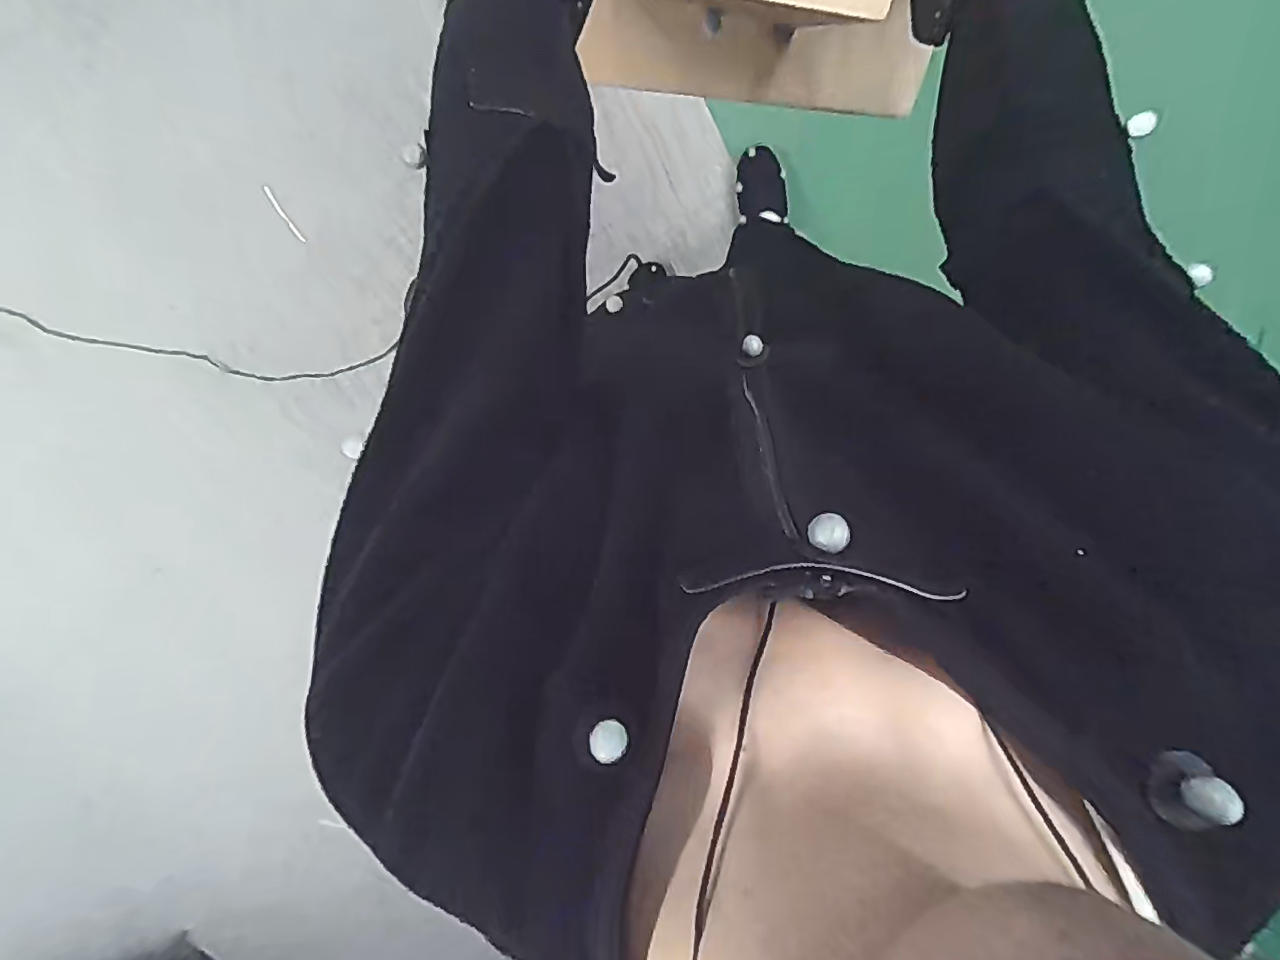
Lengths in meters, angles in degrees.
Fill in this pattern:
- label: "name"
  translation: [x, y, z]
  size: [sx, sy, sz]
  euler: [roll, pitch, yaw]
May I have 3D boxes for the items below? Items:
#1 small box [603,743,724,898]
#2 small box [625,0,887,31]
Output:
- label: "small box"
  translation: [0.045, 0.673, 1.080]
  size: [0.168, 0.176, 0.179]
  euler: [31, 107, -11]
- label: "small box"
  translation: [0.074, -0.414, 0.346]
  size: [0.168, 0.176, 0.179]
  euler: [1, 128, -10]
